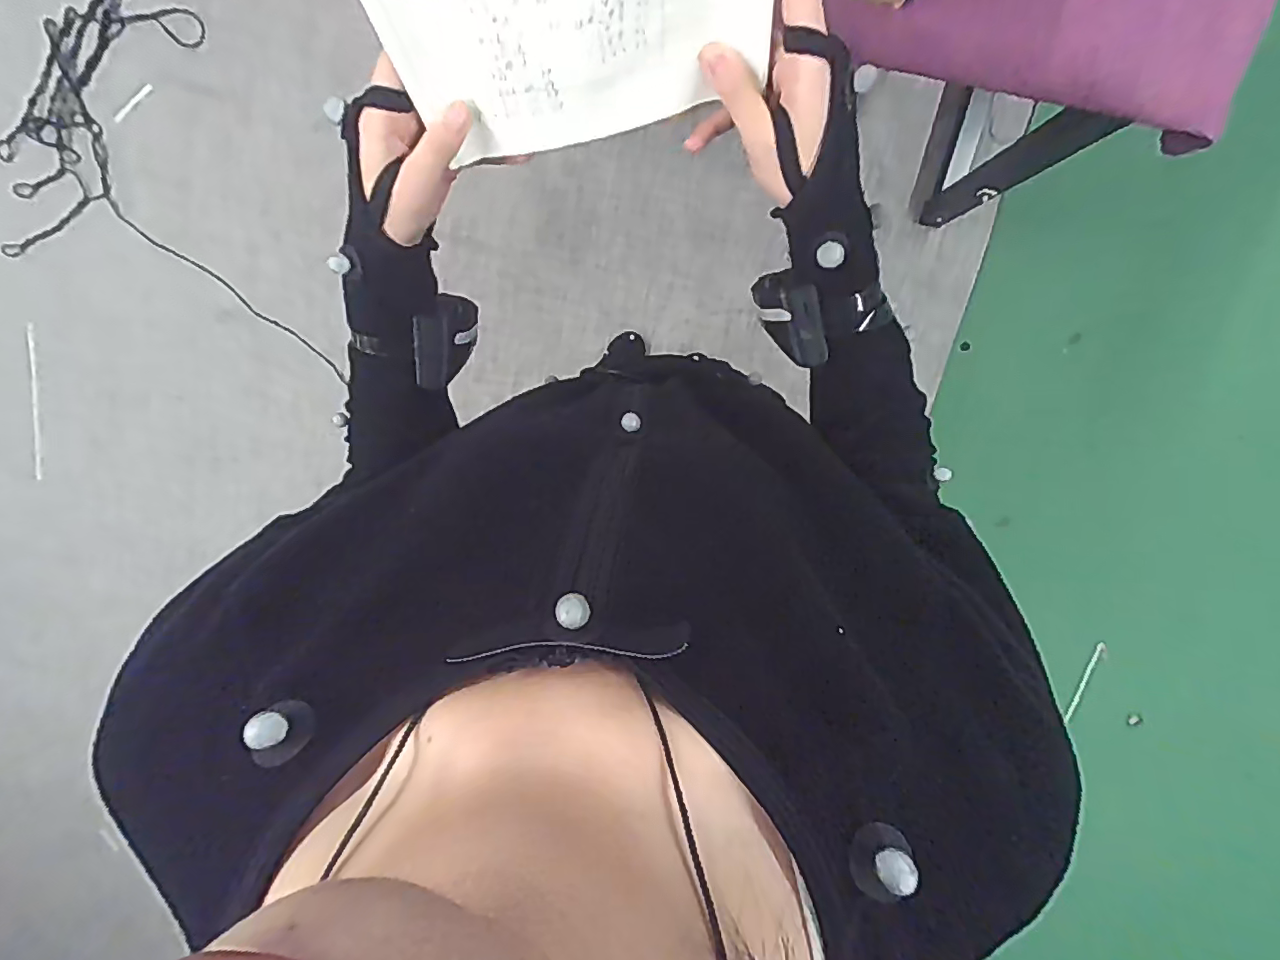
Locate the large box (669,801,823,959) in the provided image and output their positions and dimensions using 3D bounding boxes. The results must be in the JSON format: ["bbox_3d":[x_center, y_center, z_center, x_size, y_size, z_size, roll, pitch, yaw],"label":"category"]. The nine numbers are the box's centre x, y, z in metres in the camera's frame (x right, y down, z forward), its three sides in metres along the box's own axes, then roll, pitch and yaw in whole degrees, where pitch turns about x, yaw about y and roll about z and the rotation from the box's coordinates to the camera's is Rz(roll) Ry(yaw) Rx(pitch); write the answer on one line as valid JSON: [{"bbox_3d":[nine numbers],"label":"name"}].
[{"bbox_3d":[0.293,1.196,1.596,0.408,0.320,0.320,-1,103,4],"label":"large box"}]

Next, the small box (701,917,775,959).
[{"bbox_3d":[0.247,1.248,1.359,0.179,0.176,0.168,3,101,4],"label":"small box"}]
